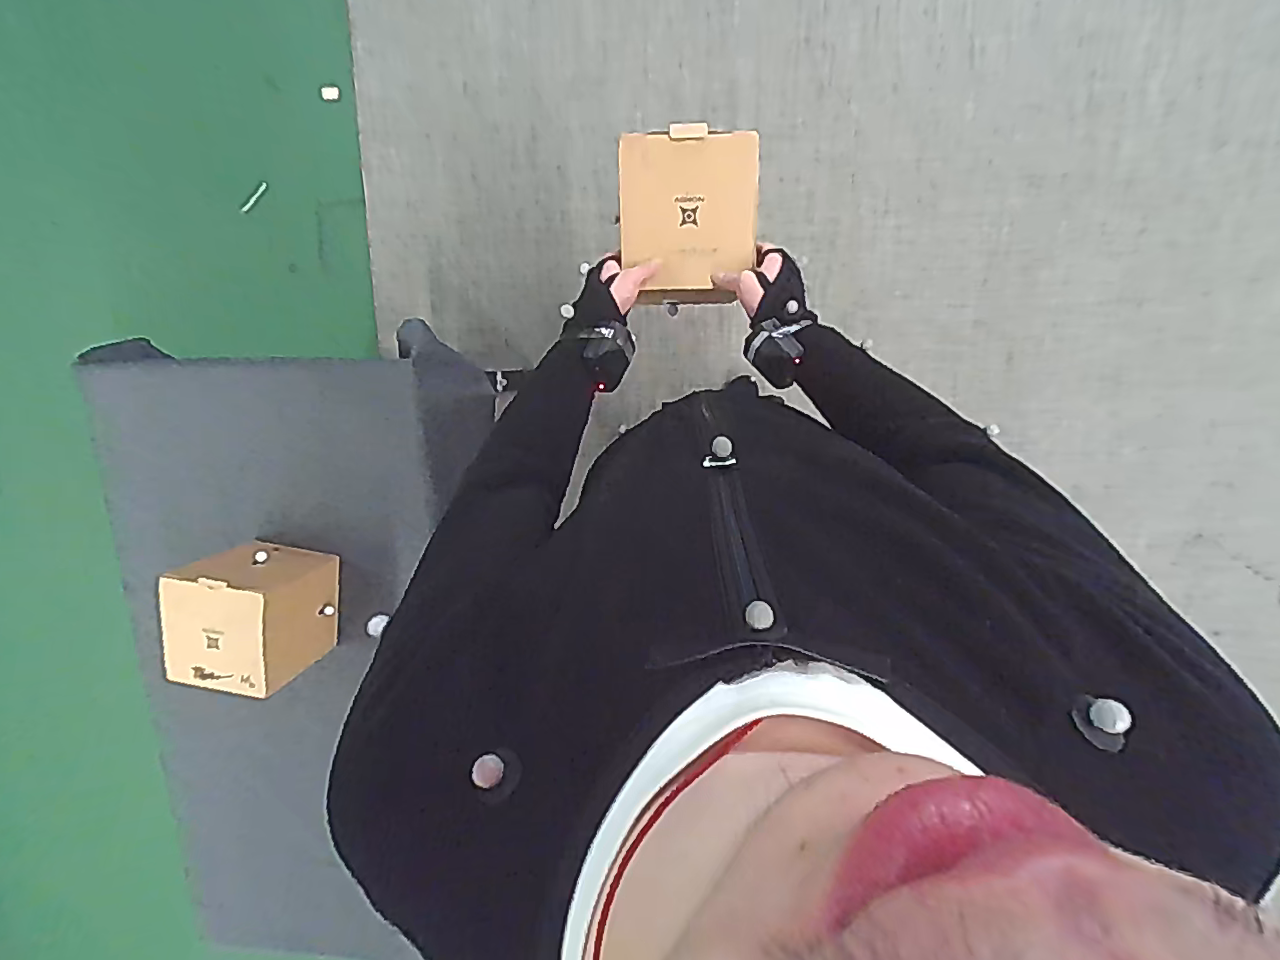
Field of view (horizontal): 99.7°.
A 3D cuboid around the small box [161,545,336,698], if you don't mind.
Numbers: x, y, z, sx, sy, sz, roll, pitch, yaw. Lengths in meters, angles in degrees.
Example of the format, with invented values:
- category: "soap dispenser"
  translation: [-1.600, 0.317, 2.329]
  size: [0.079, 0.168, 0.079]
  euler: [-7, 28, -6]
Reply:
- category: "small box"
  translation: [-0.623, 0.217, 0.879]
  size: [0.168, 0.176, 0.179]
  euler: [9, 101, 5]

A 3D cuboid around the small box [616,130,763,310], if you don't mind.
- category: "small box"
  translation: [0.058, -0.325, 0.705]
  size: [0.168, 0.176, 0.179]
  euler: [2, 102, 2]
